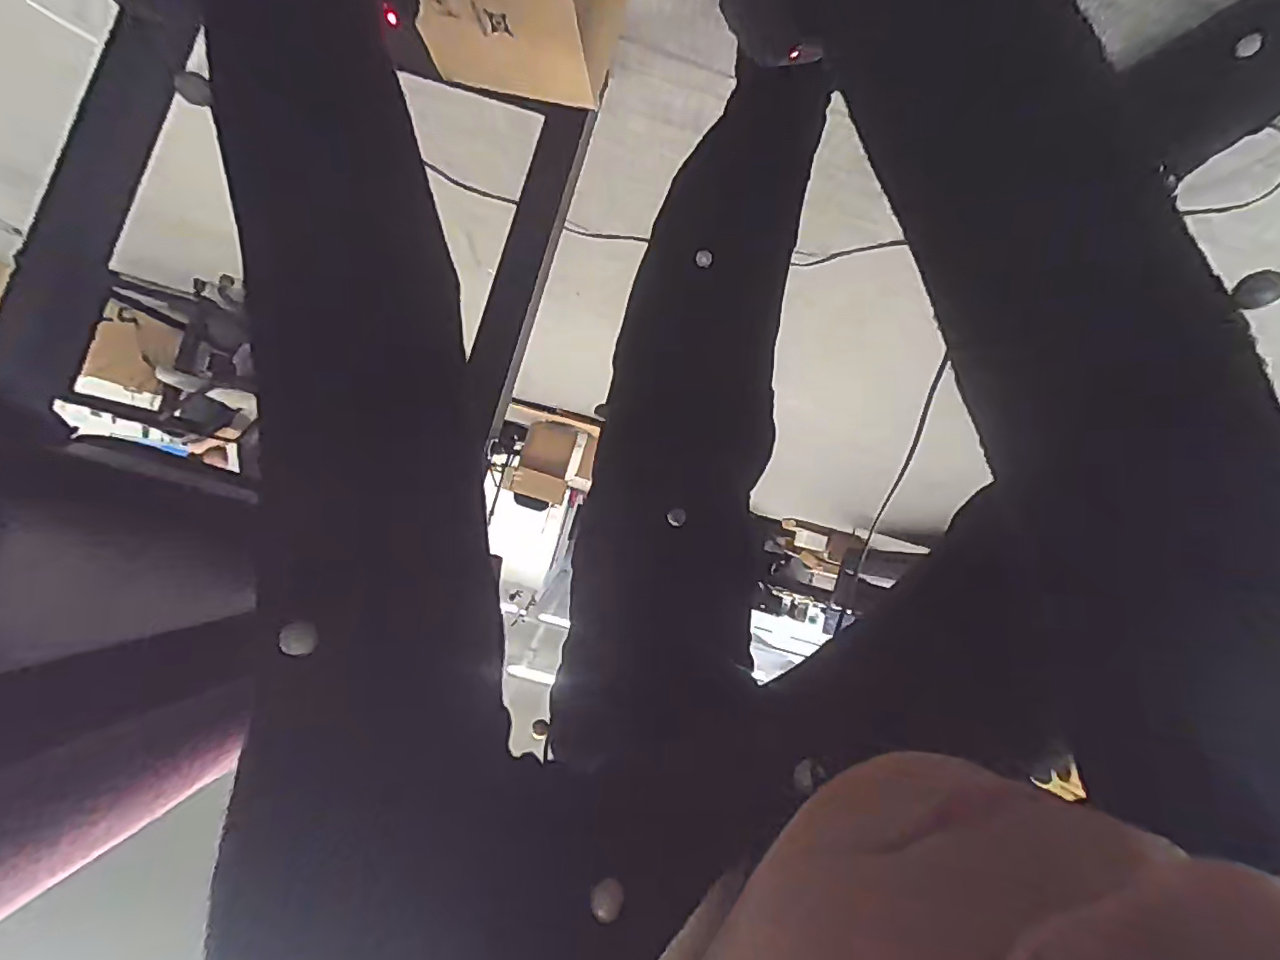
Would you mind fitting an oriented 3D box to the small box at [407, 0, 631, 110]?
[{"bbox_3d":[-0.104,-0.485,0.486,0.179,0.176,0.168,16,174,6],"label":"small box"}]
